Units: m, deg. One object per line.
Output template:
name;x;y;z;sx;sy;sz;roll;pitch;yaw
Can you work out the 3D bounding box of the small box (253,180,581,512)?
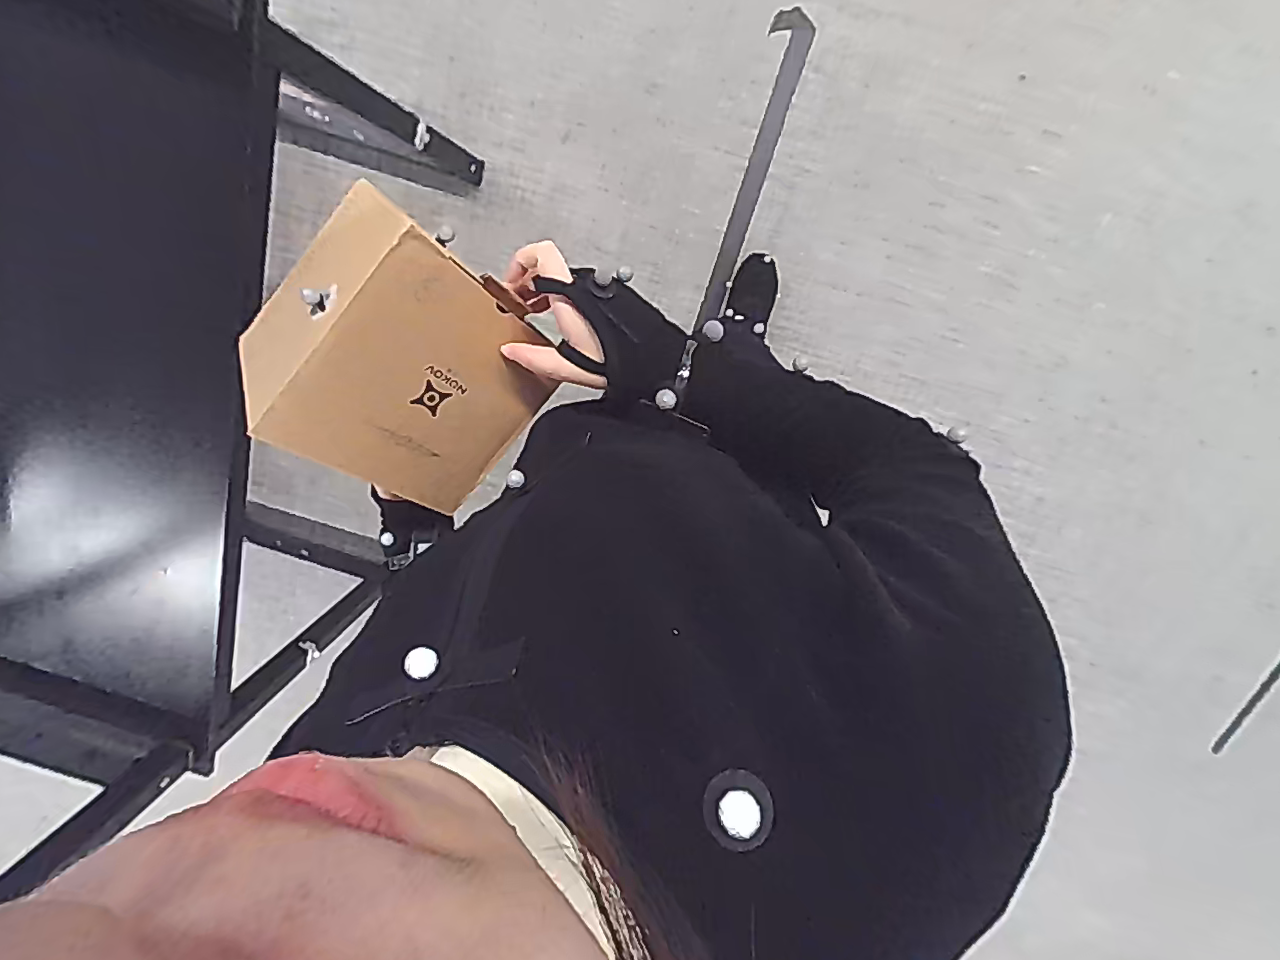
small box;-0.188;-0.111;0.446;0.179;0.176;0.168;-48;138;5
